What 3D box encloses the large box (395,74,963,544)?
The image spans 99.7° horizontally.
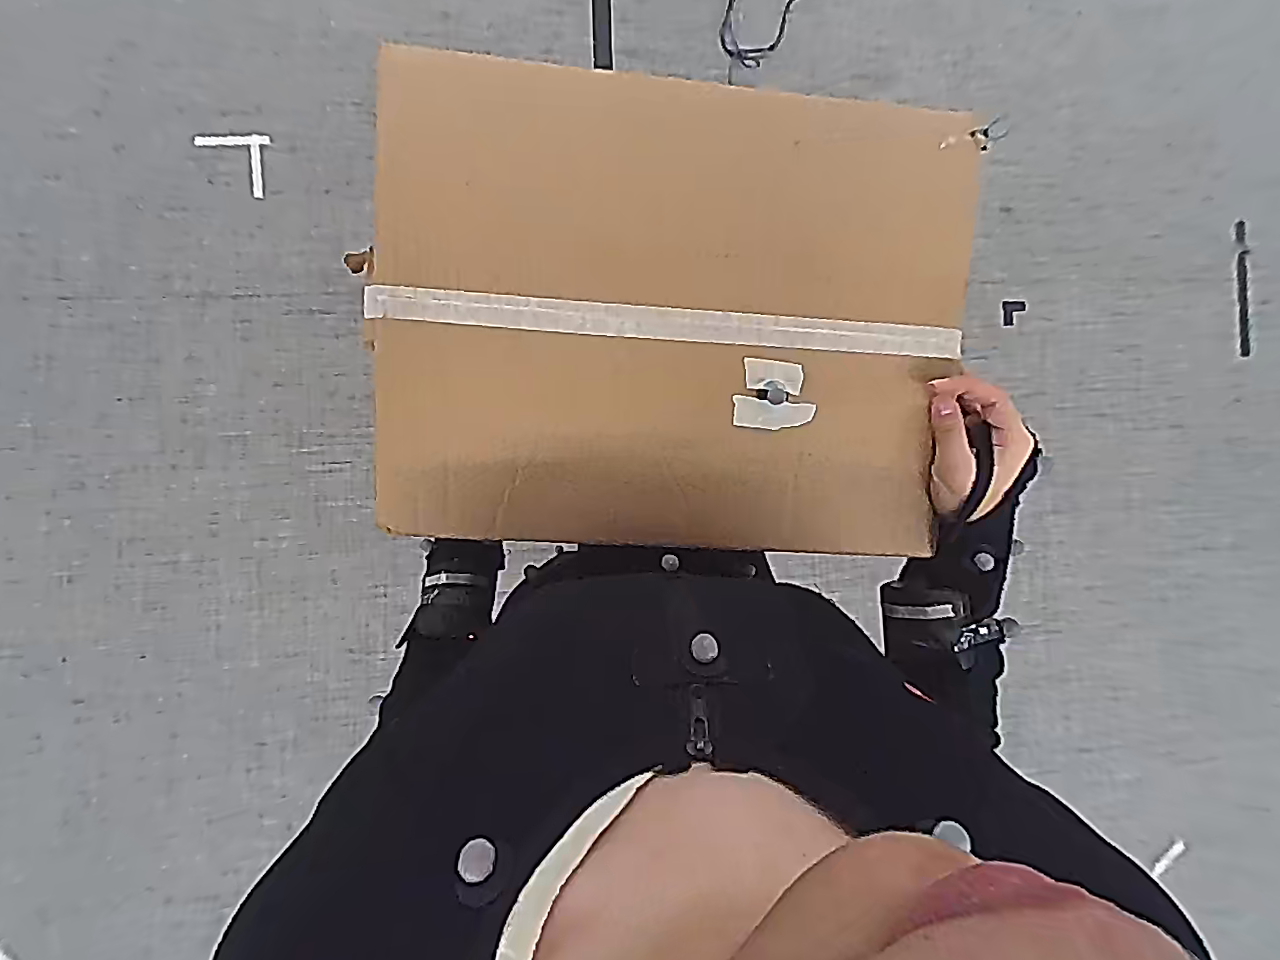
[{"bbox_3d":[0.016,-0.121,0.531,0.408,0.320,0.320,2,96,-6],"label":"large box"}]
